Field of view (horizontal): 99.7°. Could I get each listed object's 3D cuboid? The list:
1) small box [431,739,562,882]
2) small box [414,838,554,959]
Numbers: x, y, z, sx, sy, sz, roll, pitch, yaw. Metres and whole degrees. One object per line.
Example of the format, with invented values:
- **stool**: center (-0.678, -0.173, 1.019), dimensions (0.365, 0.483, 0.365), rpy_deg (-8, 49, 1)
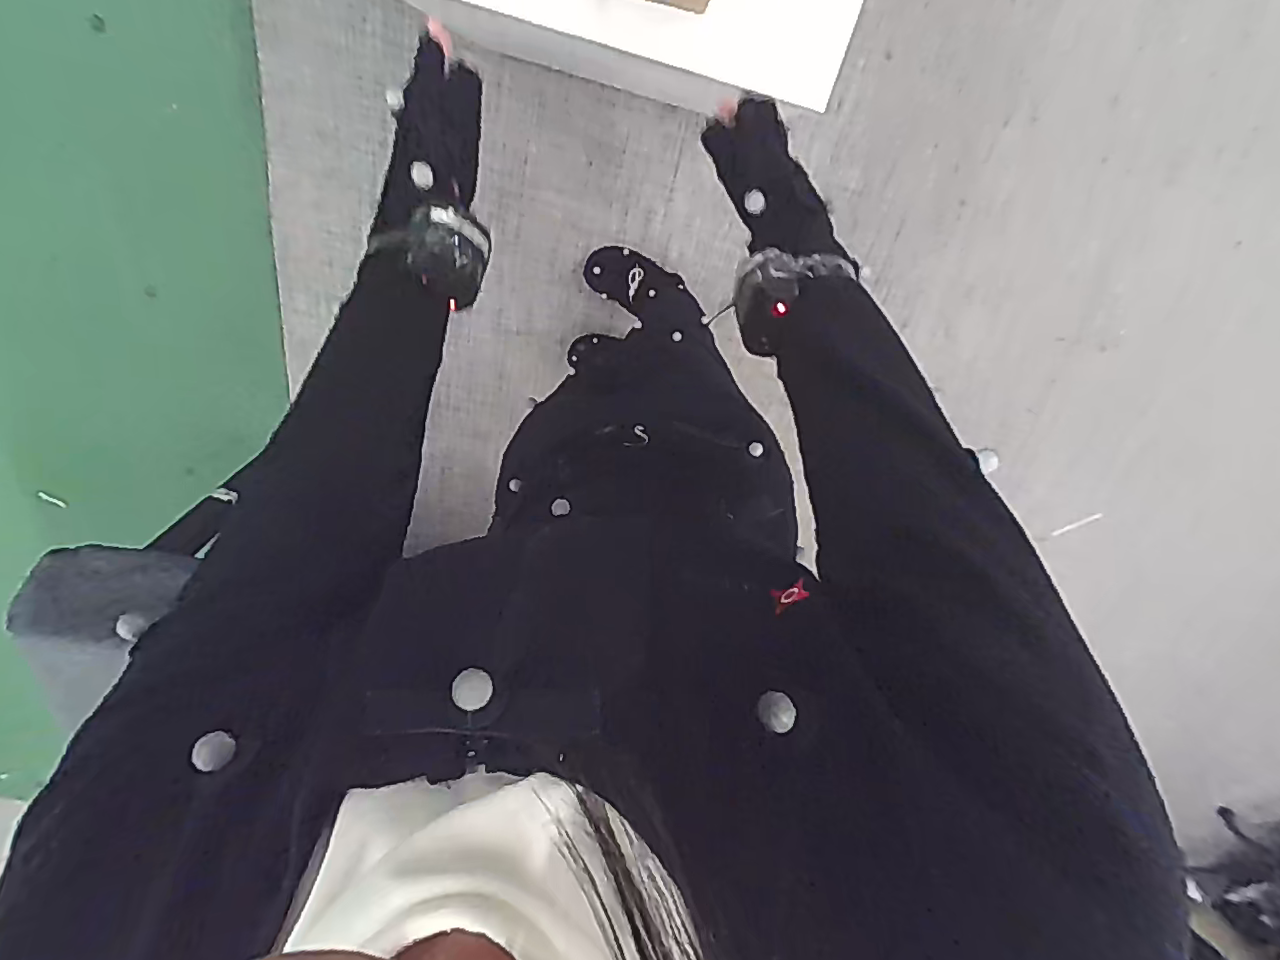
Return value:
- **small box**: center (-0.242, 0.580, 0.940), dimensions (0.179, 0.176, 0.168), rpy_deg (15, 121, -8)
- **small box**: center (-0.228, 0.668, 0.801), dimensions (0.168, 0.176, 0.179), rpy_deg (12, 123, -6)
